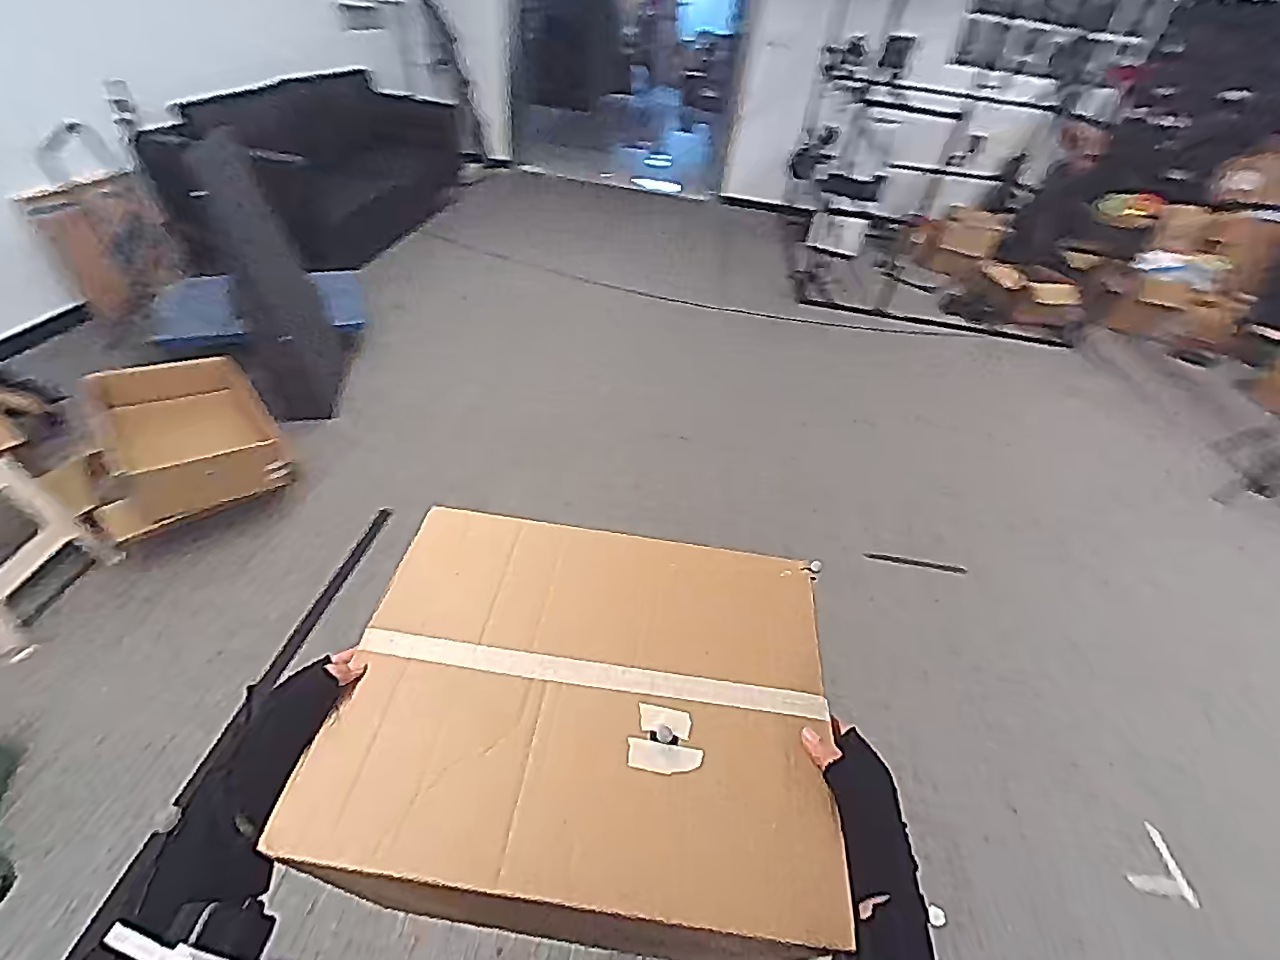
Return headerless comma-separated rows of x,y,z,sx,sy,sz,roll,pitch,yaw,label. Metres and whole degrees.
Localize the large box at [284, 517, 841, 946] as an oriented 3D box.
-0.056,0.273,0.586,0.408,0.320,0.320,8,47,0,large box
